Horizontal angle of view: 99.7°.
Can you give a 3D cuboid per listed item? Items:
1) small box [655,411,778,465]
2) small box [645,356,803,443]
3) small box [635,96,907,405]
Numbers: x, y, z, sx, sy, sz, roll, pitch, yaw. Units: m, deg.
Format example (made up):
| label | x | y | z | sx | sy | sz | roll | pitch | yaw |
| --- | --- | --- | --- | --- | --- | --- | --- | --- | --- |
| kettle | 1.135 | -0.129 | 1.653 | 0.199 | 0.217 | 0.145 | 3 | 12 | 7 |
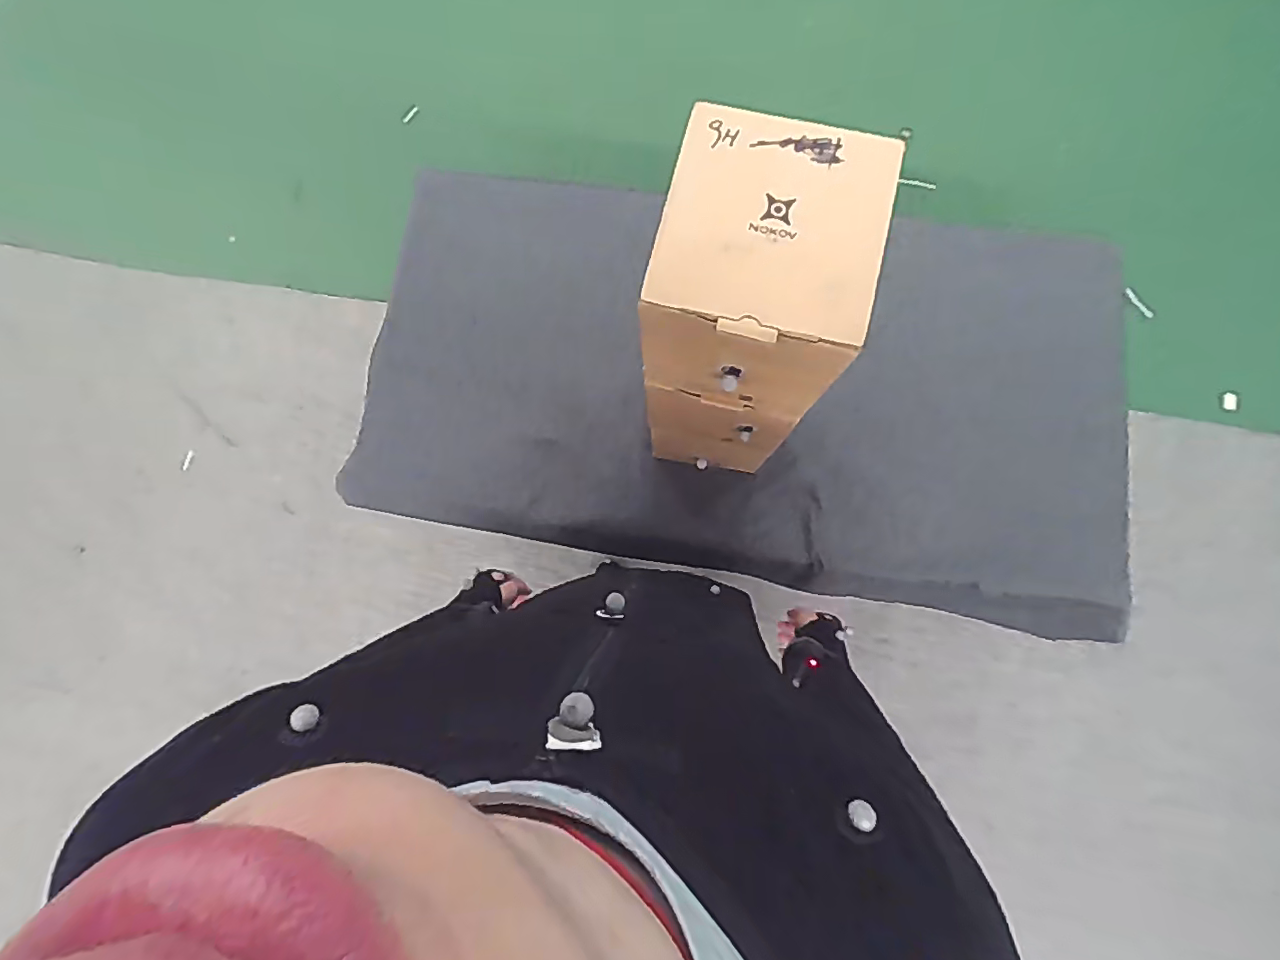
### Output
| label | x | y | z | sx | sy | sz | roll | pitch | yaw |
| --- | --- | --- | --- | --- | --- | --- | --- | --- | --- |
| small box | 0.117 | -0.132 | 0.797 | 0.168 | 0.176 | 0.179 | 10 | 82 | 5 |
| small box | 0.108 | -0.155 | 0.638 | 0.168 | 0.176 | 0.179 | 13 | 81 | 4 |
| small box | 0.102 | -0.181 | 0.476 | 0.168 | 0.176 | 0.179 | 15 | 83 | 5 |
